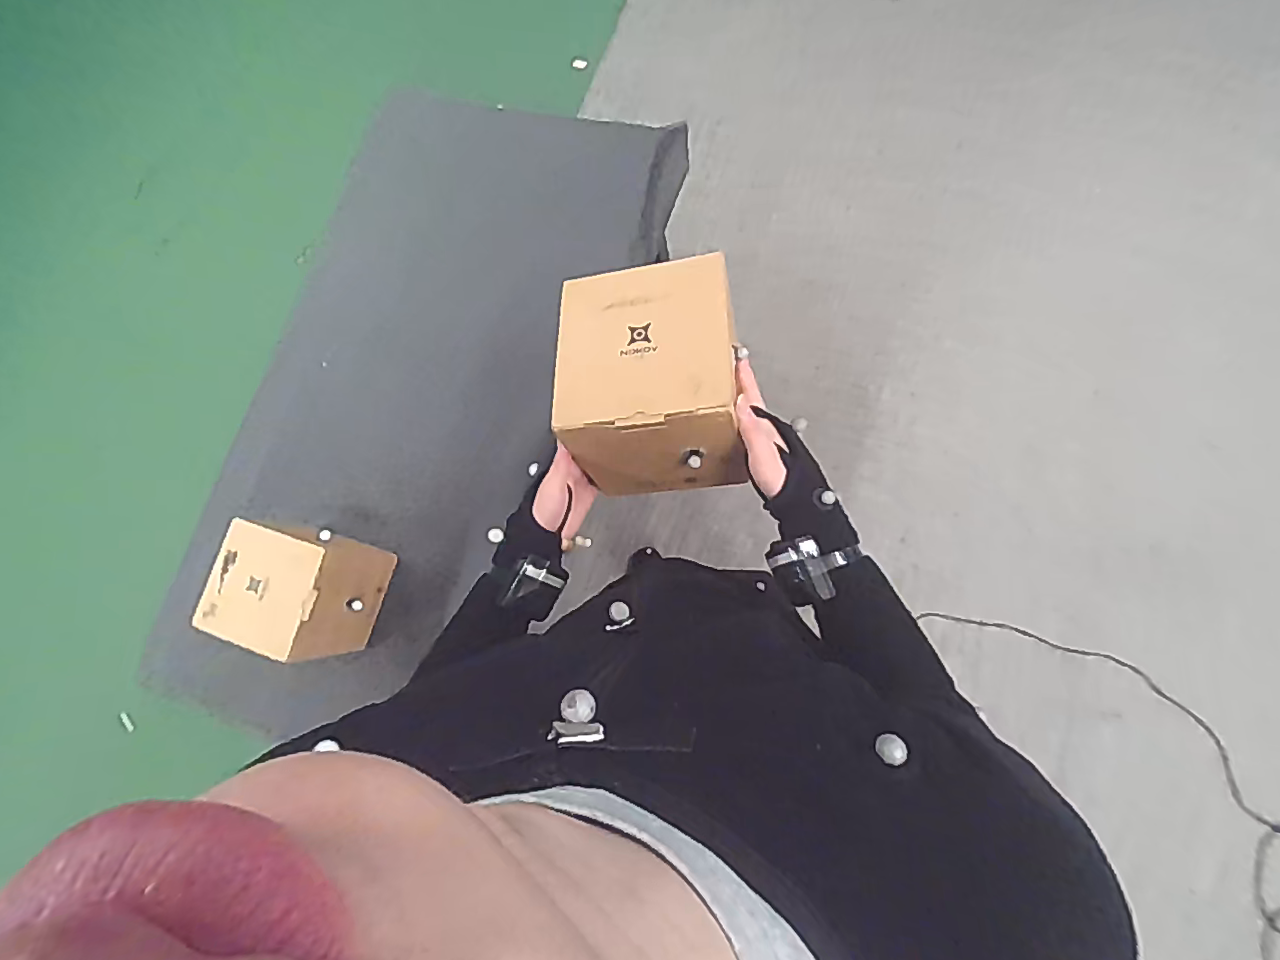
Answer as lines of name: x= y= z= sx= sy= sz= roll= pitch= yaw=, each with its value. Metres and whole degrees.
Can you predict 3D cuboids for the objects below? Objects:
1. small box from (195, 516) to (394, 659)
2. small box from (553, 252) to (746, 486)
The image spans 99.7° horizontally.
small box: x=-0.528 y=0.164 z=0.854 sx=0.179 sy=0.176 sz=0.168 roll=15 pitch=82 yaw=12
small box: x=0.020 y=-0.102 z=0.572 sx=0.168 sy=0.176 sz=0.179 roll=-5 pitch=65 yaw=12
